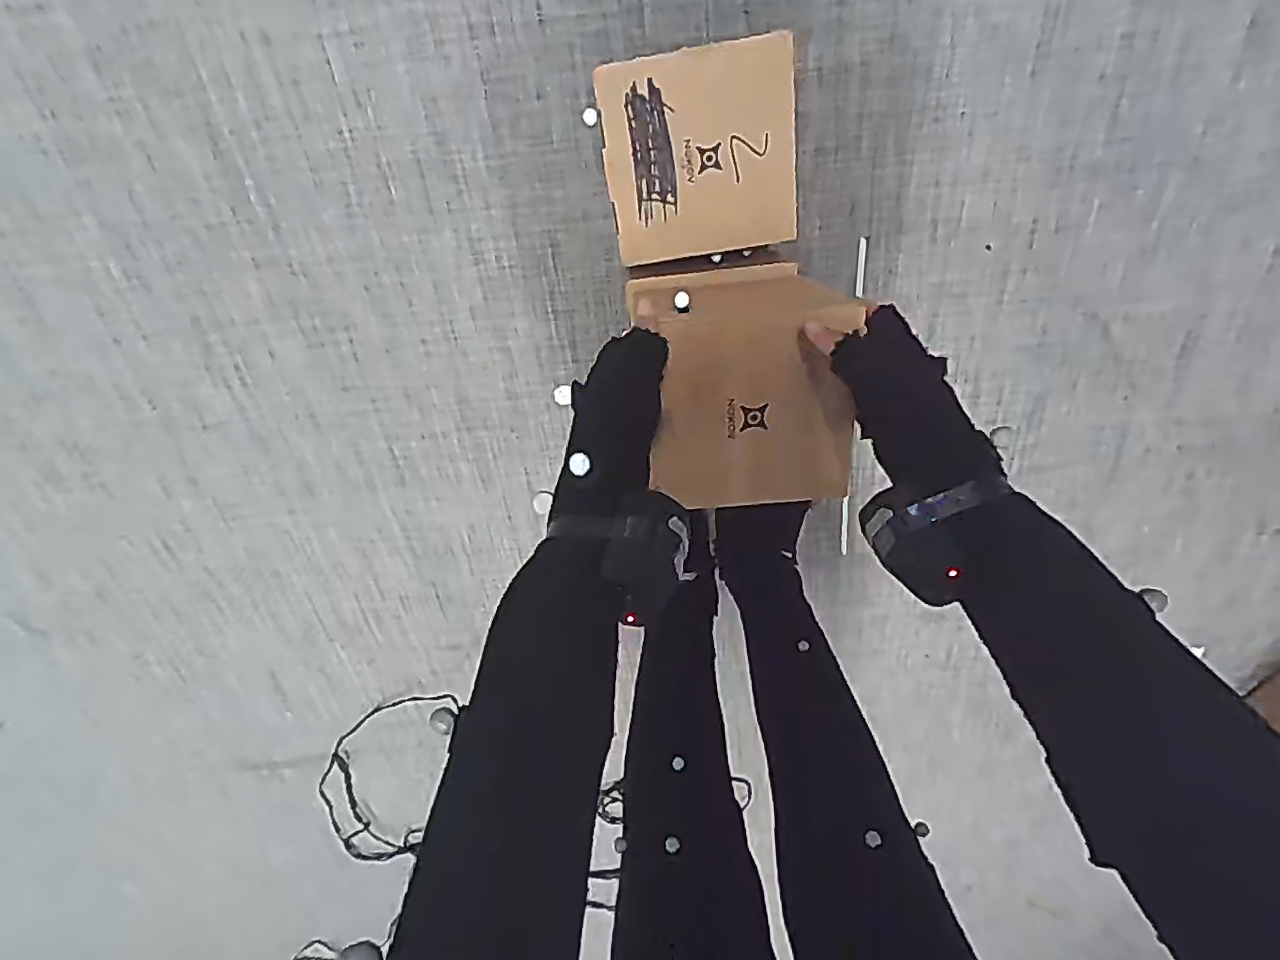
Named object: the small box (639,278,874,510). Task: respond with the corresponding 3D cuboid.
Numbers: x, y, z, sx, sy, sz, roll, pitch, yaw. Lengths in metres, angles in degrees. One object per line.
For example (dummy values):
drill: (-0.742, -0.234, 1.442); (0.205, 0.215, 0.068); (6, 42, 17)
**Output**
small box: (0.092, -0.088, 0.508); (0.179, 0.176, 0.168); (-4, 117, 2)
